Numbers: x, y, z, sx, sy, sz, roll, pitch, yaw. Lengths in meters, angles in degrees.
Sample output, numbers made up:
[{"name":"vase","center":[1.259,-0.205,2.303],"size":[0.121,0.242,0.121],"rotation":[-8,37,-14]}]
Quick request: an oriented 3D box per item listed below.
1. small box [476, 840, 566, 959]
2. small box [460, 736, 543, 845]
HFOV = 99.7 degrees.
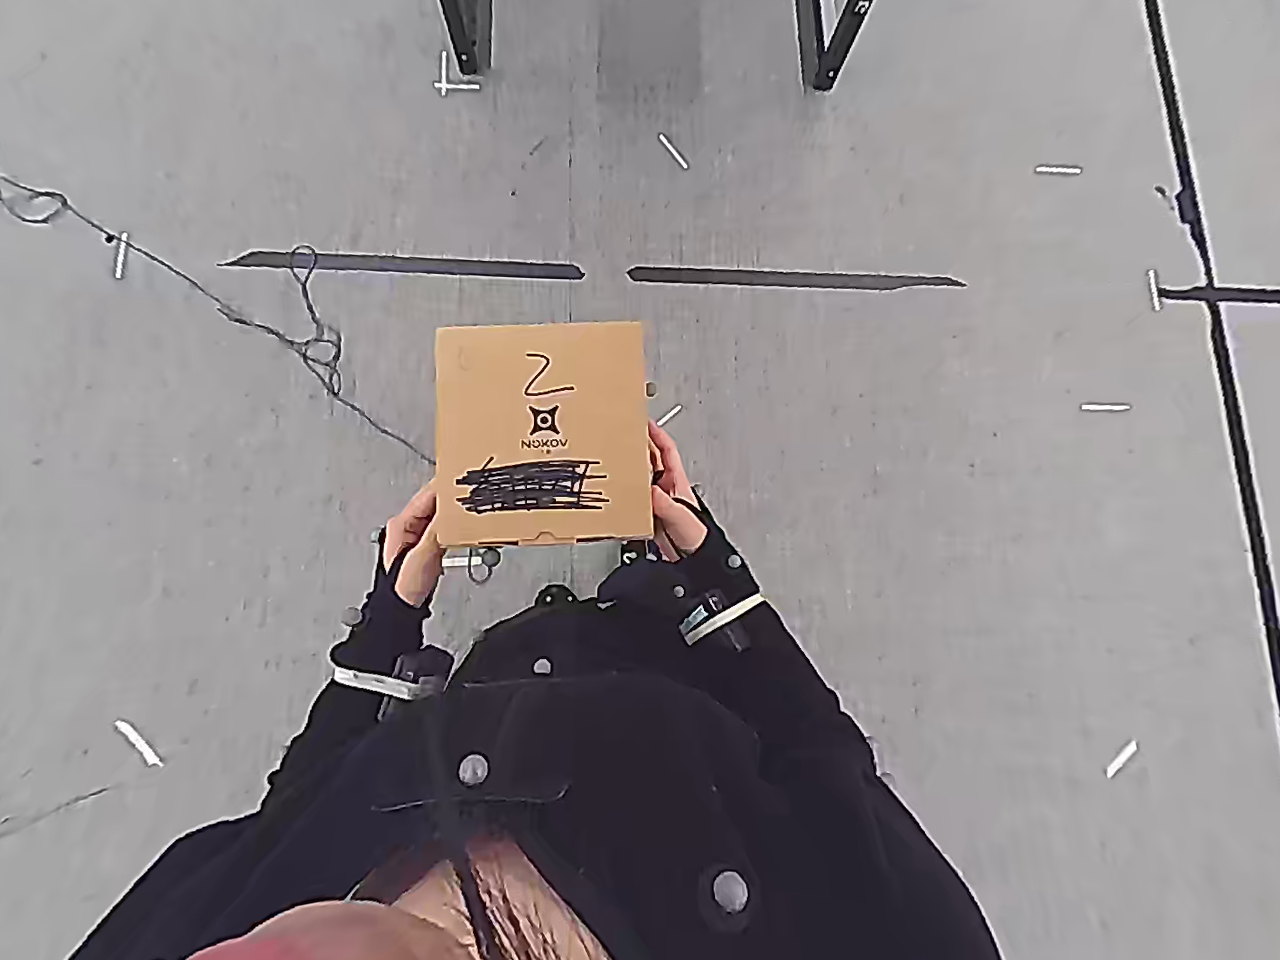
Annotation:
[{"name":"small box","center":[-0.273,0.987,1.271],"size":[0.179,0.176,0.168],"rotation":[-7,83,-6]},{"name":"small box","center":[-0.329,0.734,1.302],"size":[0.168,0.176,0.179],"rotation":[-6,82,-5]}]
